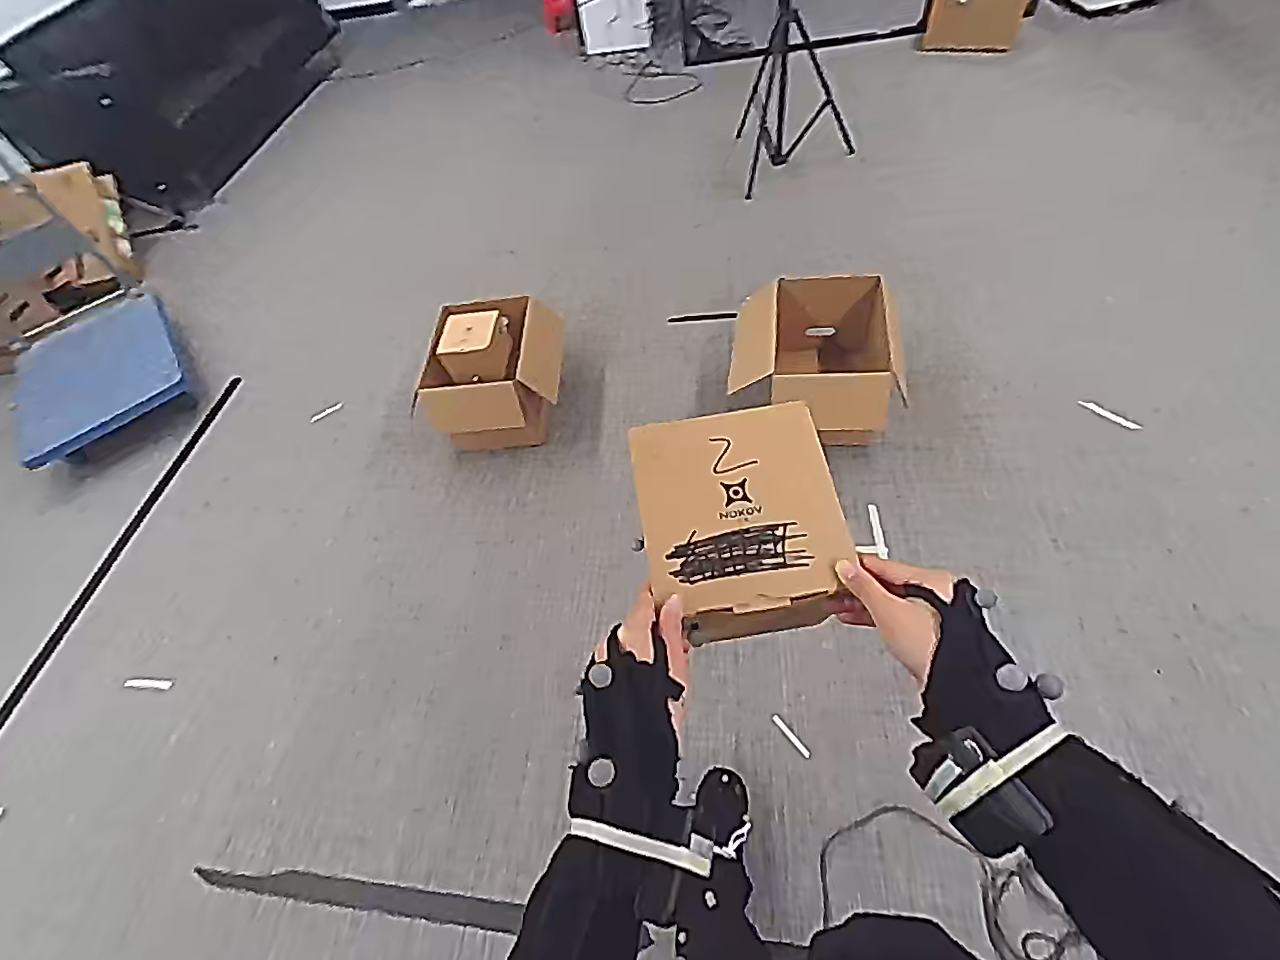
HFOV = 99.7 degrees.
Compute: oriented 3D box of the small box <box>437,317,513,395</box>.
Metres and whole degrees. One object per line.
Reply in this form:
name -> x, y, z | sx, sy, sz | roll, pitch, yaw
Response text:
small box -> -0.520, -0.395, 1.735 | 0.168, 0.176, 0.179 | -4, 55, 8
